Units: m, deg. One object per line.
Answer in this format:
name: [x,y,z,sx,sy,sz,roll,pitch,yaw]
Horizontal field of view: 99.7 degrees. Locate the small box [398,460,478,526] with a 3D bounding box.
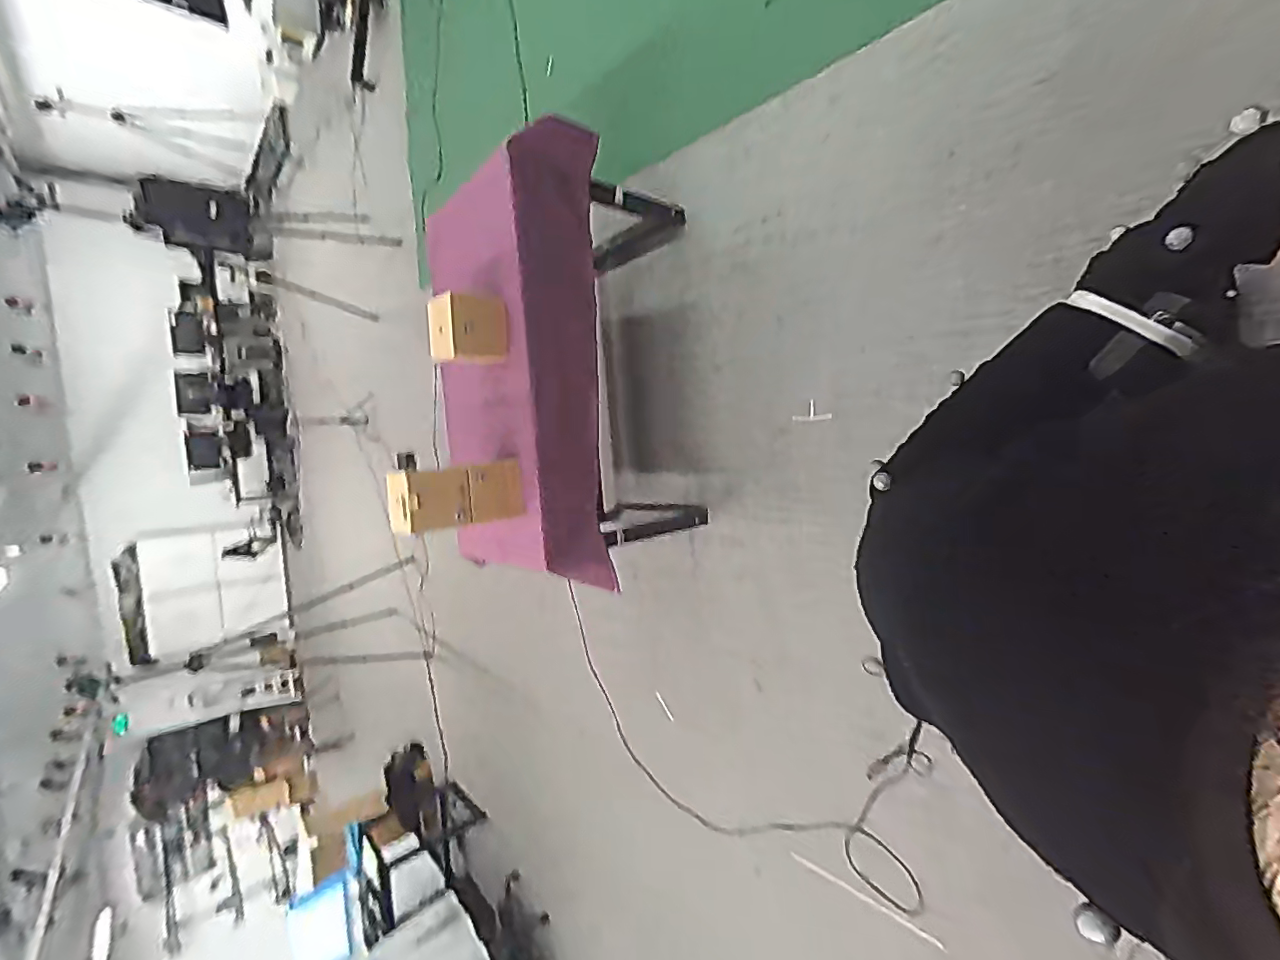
small box: [-0.568,0.031,1.534,0.179,0.176,0.168,1,95,50]

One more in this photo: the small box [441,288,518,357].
small box: [-0.475,-0.460,1.608,0.168,0.176,0.179,8,101,48]

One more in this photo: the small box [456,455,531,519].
small box: [-0.441,0.016,1.638,0.168,0.176,0.179,2,96,49]
